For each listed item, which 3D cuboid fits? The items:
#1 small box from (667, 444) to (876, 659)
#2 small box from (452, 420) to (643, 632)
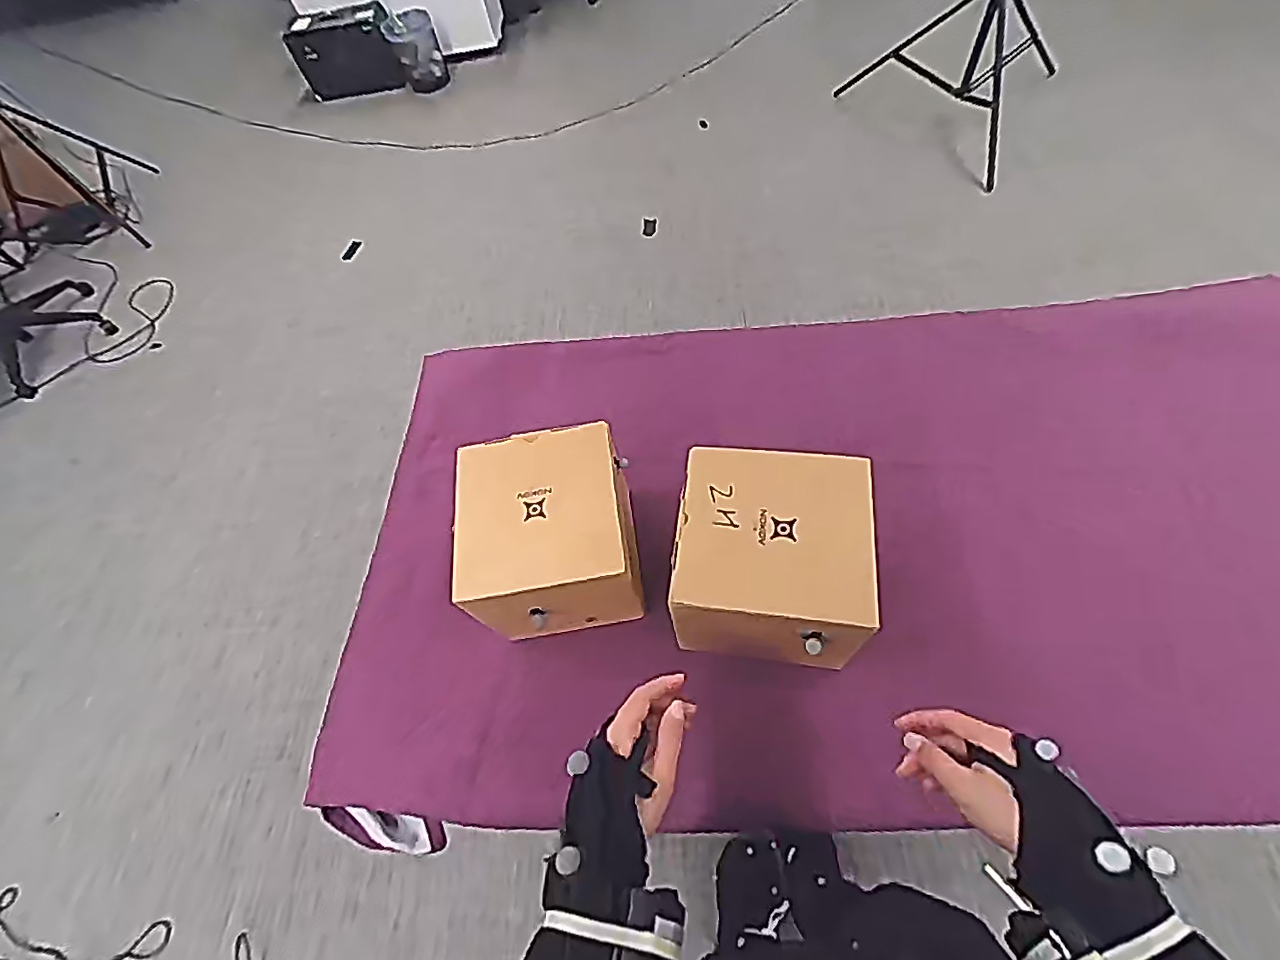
[{"bbox_3d":[0.131,0.080,0.564,0.179,0.176,0.168,4,60,11],"label":"small box"},{"bbox_3d":[-0.096,0.062,0.610,0.168,0.176,0.179,-11,59,2],"label":"small box"}]
